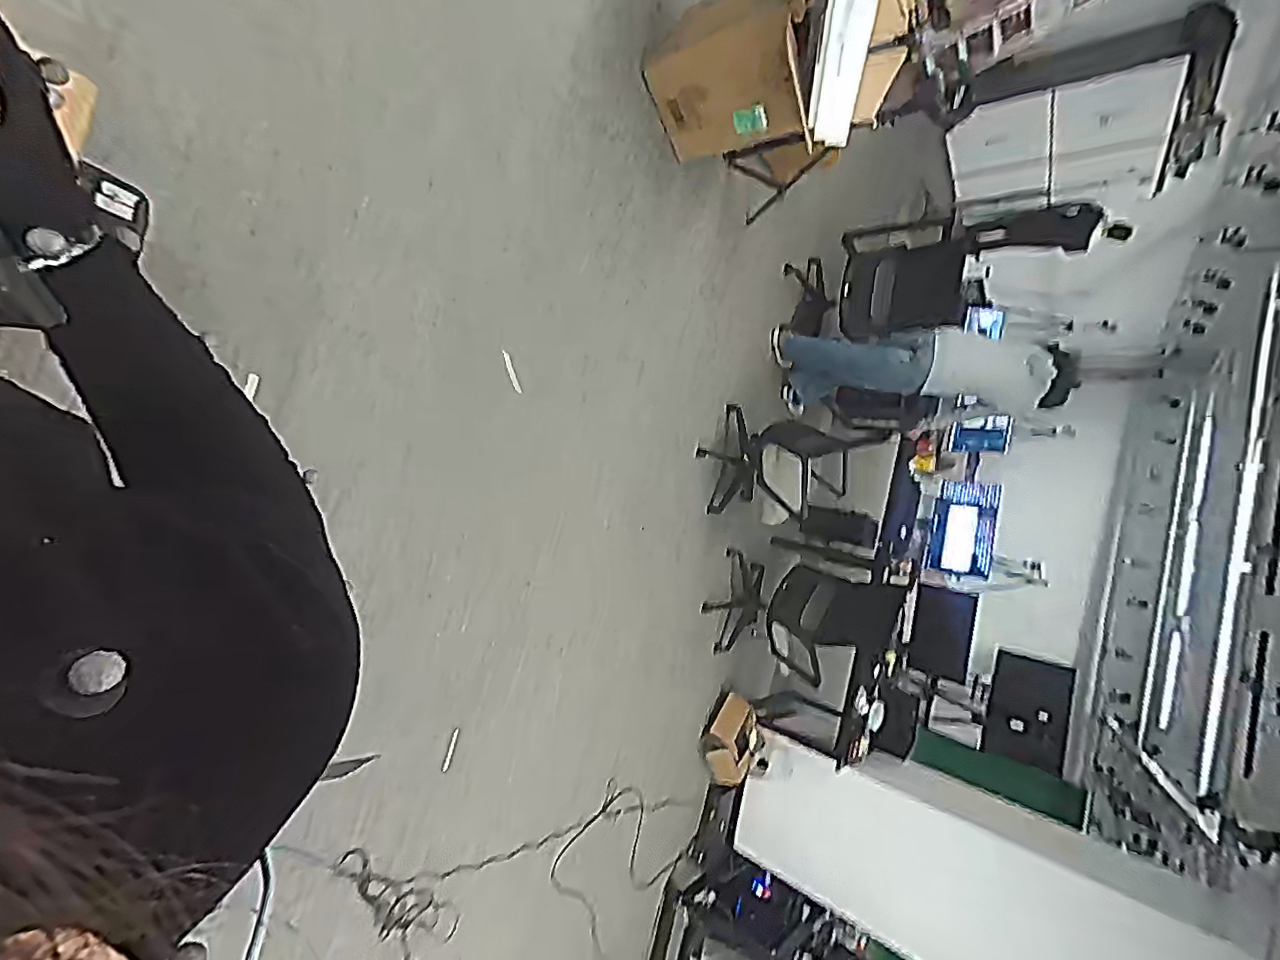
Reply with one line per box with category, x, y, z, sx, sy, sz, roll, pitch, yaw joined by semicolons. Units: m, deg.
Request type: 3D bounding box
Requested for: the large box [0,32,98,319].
large box;-0.962;-0.415;0.630;0.408;0.320;0.320;18;83;-51
